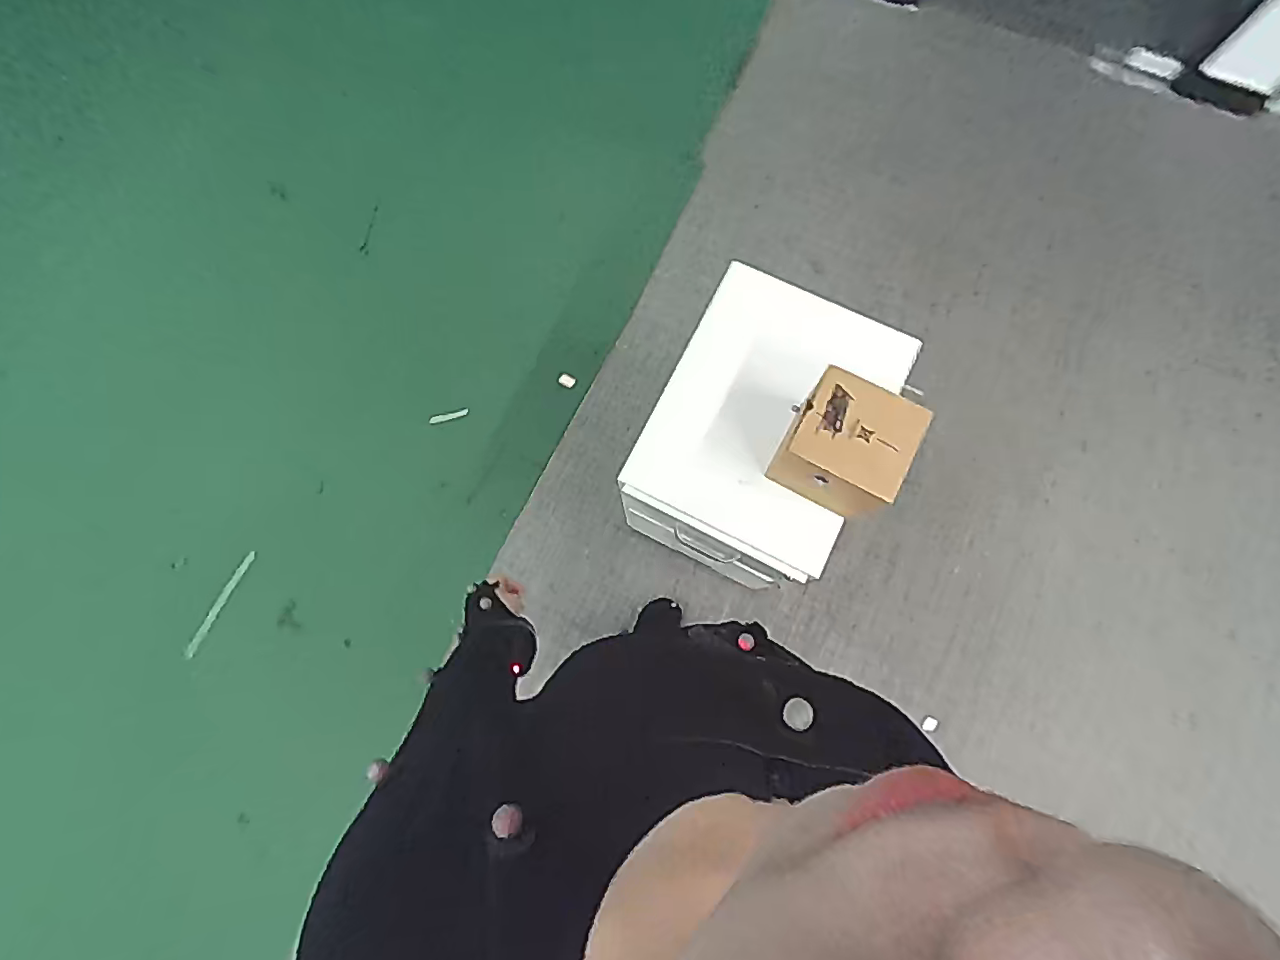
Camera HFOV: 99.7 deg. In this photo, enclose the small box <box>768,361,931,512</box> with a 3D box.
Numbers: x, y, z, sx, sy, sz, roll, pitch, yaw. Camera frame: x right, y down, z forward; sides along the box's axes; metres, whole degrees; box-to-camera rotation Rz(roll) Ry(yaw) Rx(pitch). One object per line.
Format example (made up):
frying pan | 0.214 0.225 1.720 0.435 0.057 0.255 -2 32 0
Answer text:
small box | 0.336 -0.062 0.906 0.179 0.176 0.168 29 79 7
